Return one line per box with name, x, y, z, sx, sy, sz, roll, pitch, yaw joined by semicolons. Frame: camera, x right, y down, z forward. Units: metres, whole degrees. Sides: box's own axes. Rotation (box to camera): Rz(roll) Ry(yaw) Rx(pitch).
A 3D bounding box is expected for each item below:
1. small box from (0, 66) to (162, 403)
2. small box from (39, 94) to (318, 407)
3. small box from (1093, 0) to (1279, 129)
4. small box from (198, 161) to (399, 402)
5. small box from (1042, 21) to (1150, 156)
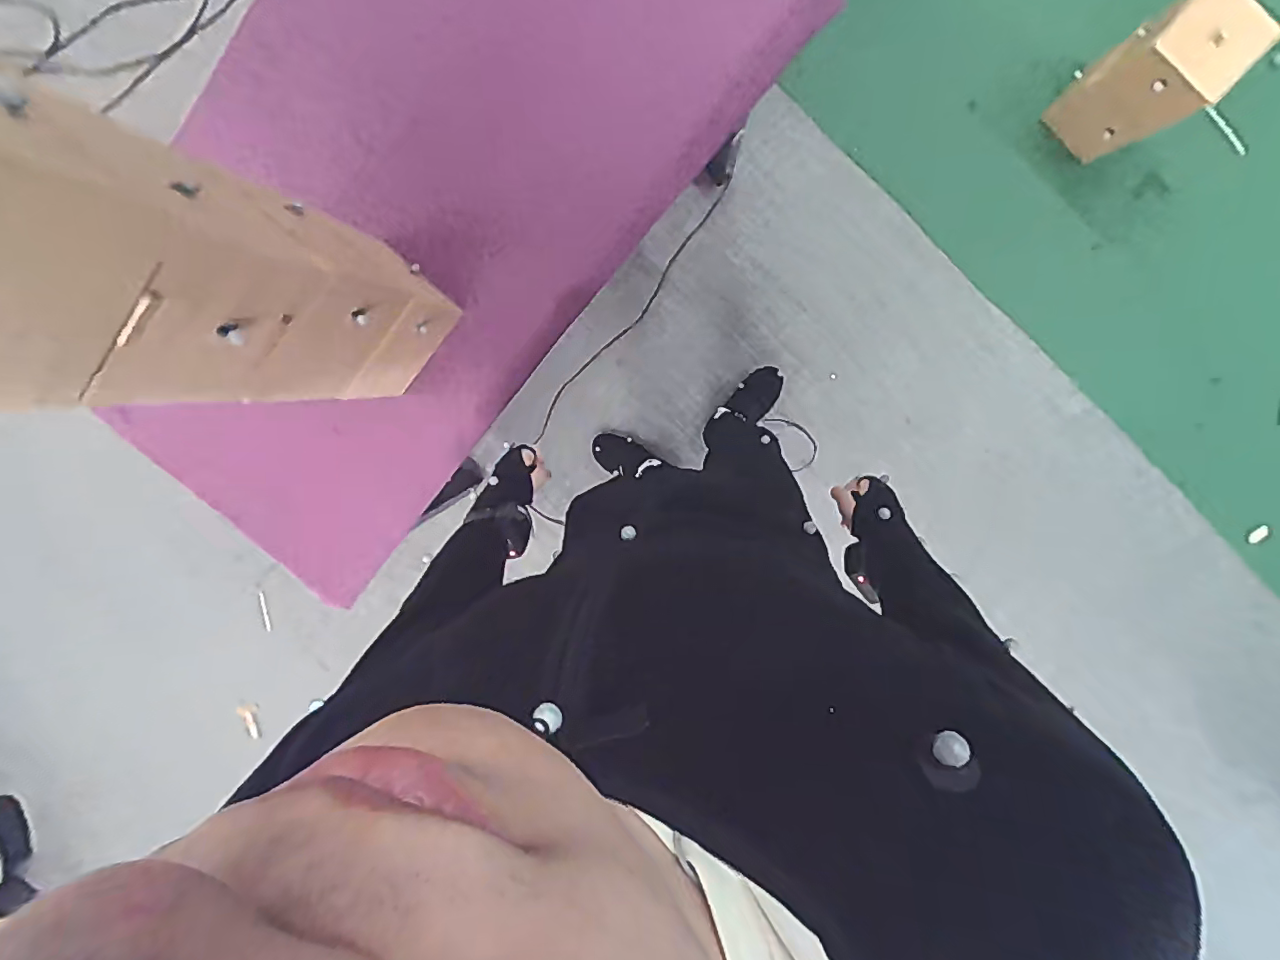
small box;-0.435;-0.154;0.301;0.168;0.176;0.179;39;100;-3
small box;-0.428;-0.184;0.463;0.179;0.176;0.168;39;100;-4
small box;1.121;-0.877;1.127;0.179;0.176;0.168;40;101;-3
small box;-0.412;-0.211;0.623;0.168;0.176;0.179;41;101;-4
small box;1.125;-0.912;1.286;0.179;0.176;0.168;42;101;-5
